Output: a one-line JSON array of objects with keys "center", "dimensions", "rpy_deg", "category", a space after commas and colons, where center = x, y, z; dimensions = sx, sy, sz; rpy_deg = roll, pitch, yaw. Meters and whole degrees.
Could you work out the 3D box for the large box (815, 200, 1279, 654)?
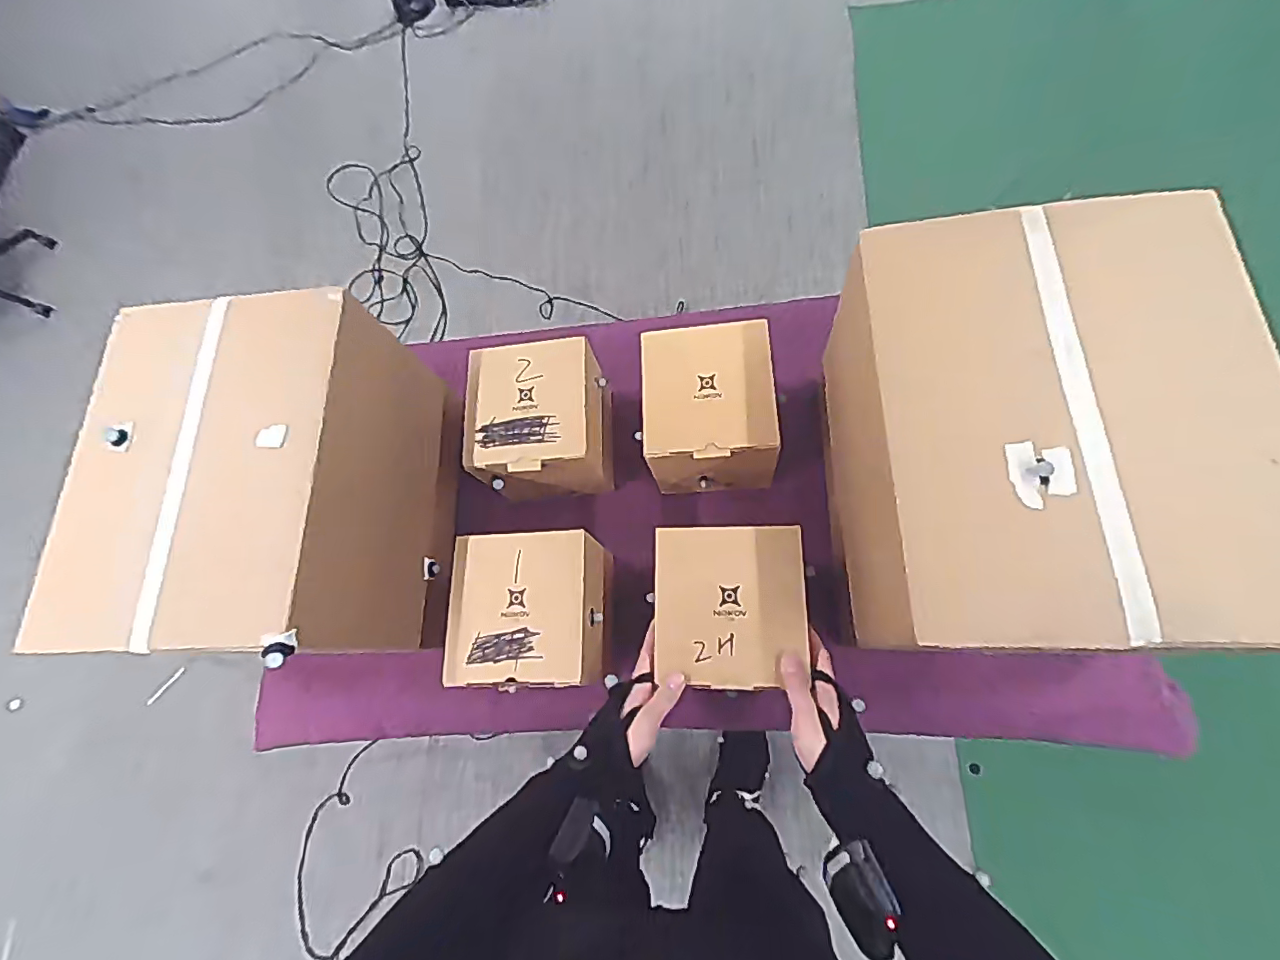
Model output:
[{"center": [0.397, -0.022, 0.604], "dimensions": [0.320, 0.320, 0.408], "rpy_deg": [-3, 73, 9], "category": "large box"}]
